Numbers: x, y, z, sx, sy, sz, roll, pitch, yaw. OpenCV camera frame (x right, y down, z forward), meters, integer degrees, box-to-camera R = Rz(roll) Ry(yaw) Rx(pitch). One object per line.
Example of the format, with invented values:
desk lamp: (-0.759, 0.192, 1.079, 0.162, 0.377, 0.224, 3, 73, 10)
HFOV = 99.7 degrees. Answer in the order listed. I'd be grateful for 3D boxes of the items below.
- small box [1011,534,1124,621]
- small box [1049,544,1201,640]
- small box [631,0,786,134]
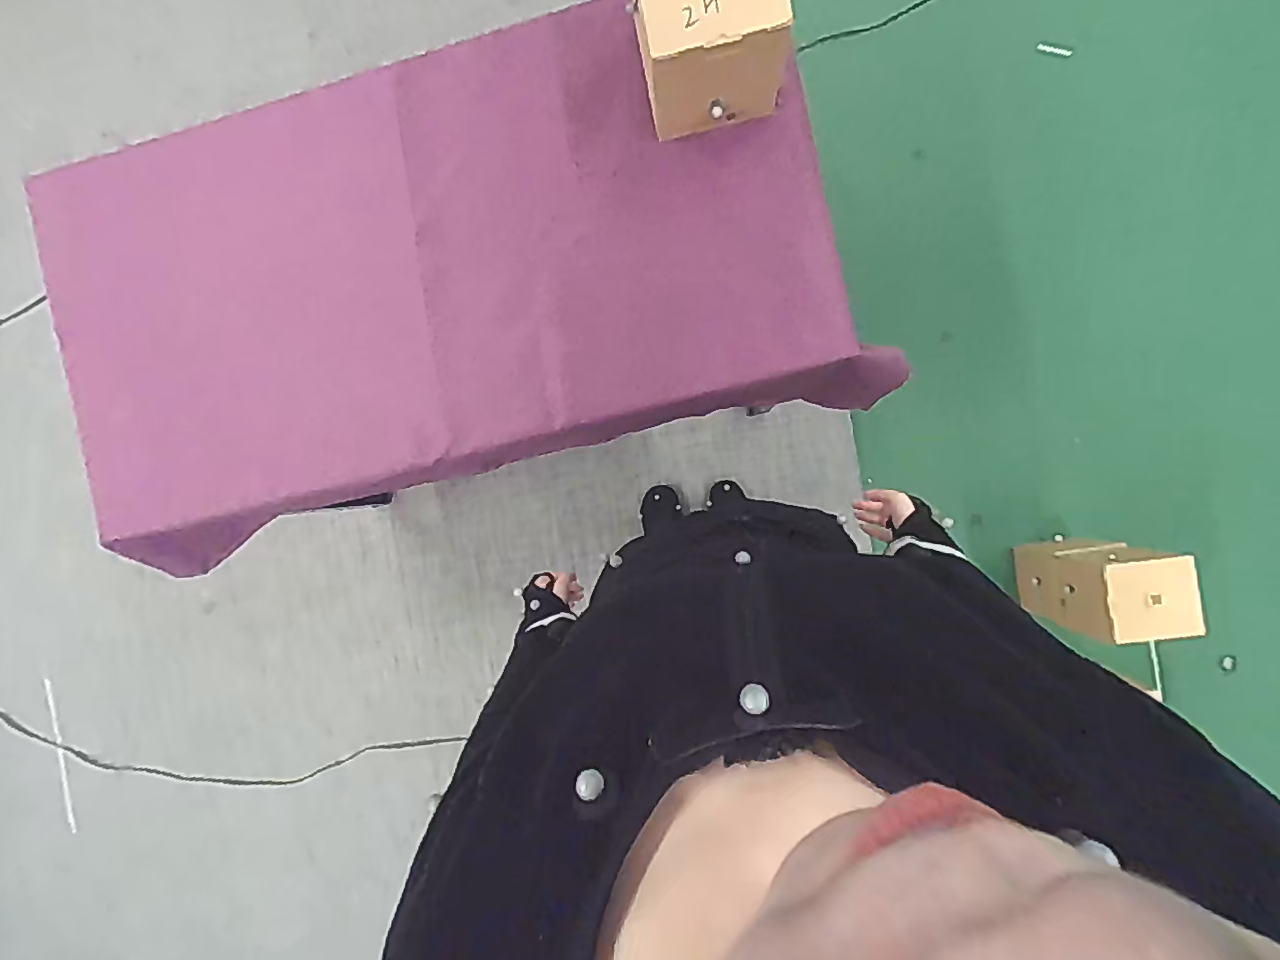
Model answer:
small box: (1.066, 0.237, 1.346, 0.168, 0.176, 0.179, -8, 88, 5)
small box: (1.050, 0.238, 1.184, 0.179, 0.176, 0.168, -8, 89, 5)
small box: (0.077, -0.592, 0.692, 0.168, 0.176, 0.179, -11, 93, 6)
